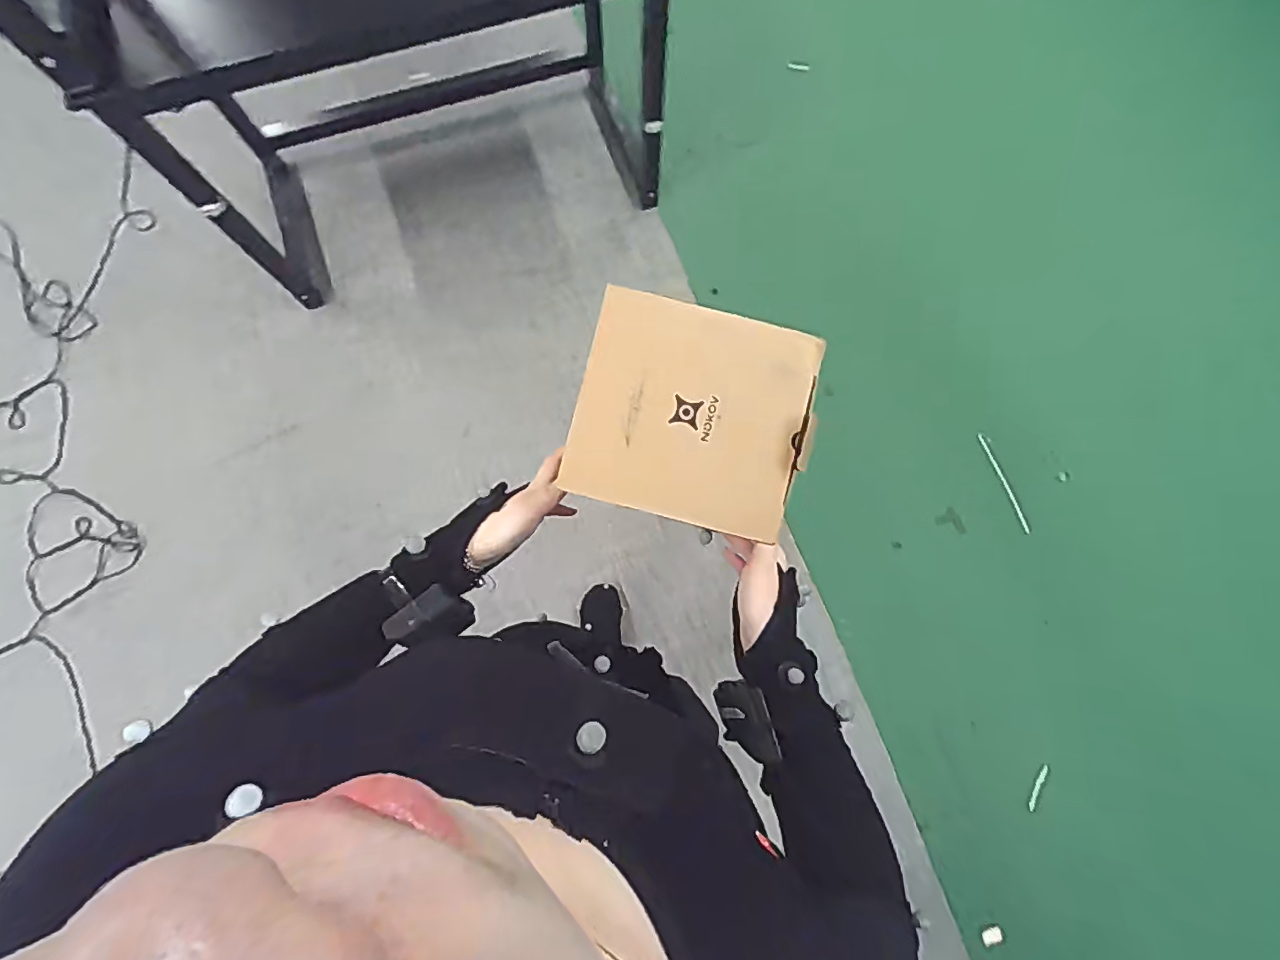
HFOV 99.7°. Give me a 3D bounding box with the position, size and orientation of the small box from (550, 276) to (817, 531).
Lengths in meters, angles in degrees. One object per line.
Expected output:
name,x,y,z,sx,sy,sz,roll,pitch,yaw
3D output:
small box,0.034,-0.056,0.493,0.179,0.176,0.168,13,87,1
